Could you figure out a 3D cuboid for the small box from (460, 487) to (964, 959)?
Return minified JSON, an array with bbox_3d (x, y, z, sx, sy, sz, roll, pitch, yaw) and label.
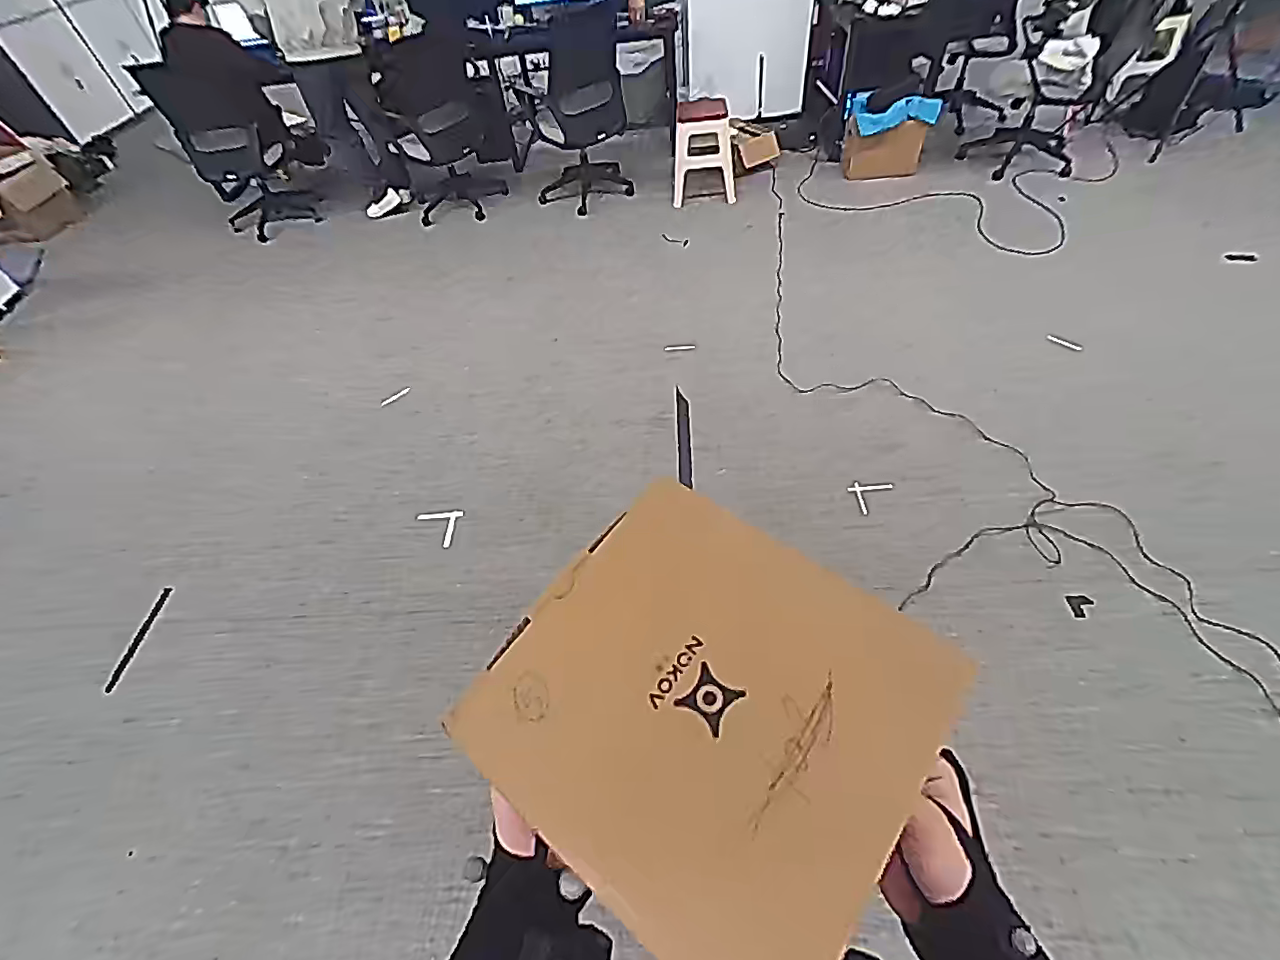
[{"bbox_3d":[0.038,0.142,0.313,0.179,0.176,0.168,30,66,24],"label":"small box"}]
